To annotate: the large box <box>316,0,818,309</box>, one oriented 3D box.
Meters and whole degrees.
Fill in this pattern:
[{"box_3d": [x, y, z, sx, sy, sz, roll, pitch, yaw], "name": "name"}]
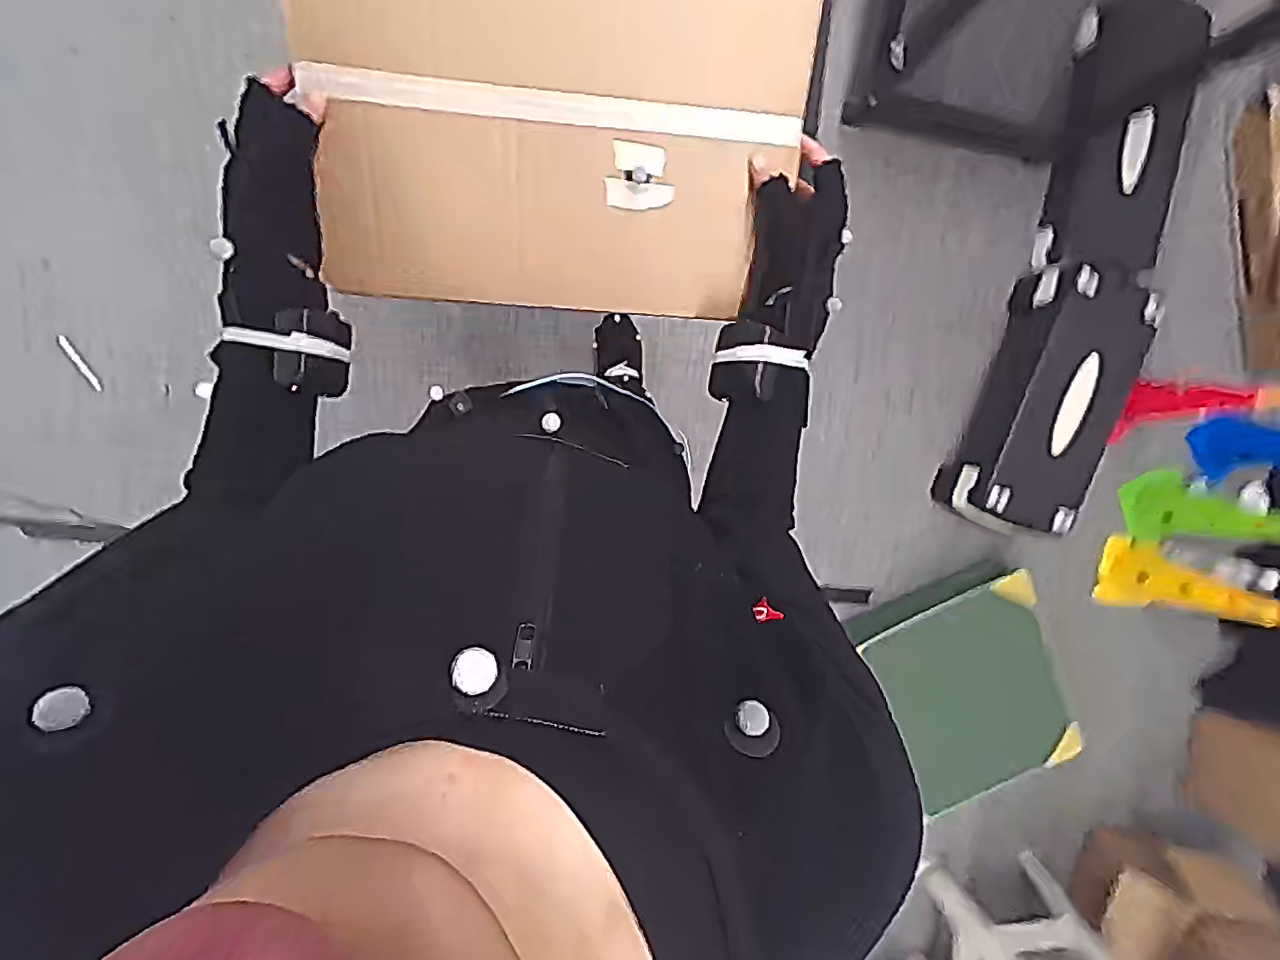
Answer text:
[{"box_3d": [-0.073, -0.370, 0.593, 0.408, 0.320, 0.320, 2, 113, -8], "name": "large box"}]
